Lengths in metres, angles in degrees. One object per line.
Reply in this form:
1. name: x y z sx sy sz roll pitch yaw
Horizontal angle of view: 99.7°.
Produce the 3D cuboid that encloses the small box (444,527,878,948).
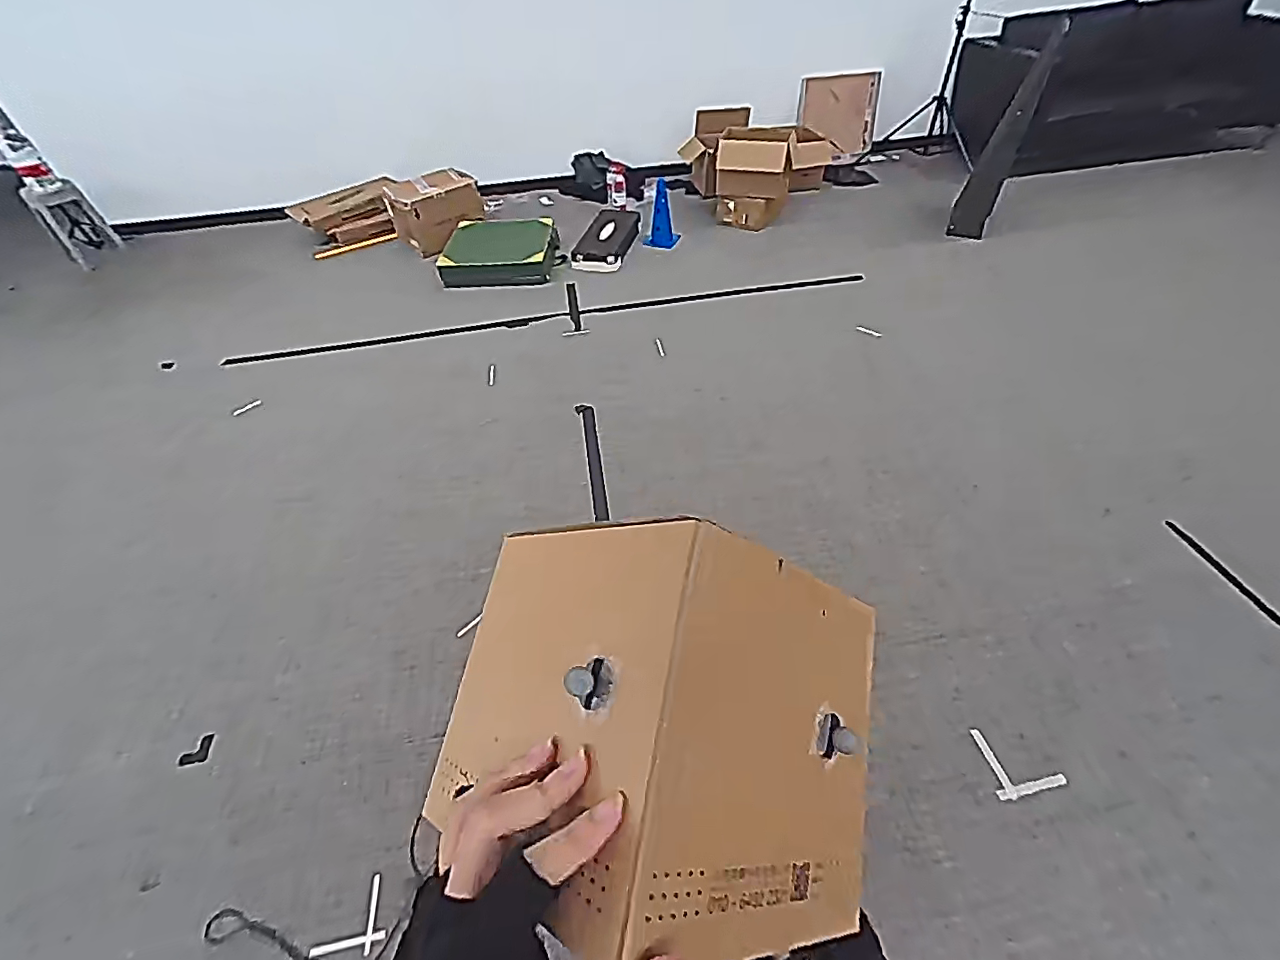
1. small box: 0.013 0.136 0.316 0.179 0.168 0.176 -11 59 49
